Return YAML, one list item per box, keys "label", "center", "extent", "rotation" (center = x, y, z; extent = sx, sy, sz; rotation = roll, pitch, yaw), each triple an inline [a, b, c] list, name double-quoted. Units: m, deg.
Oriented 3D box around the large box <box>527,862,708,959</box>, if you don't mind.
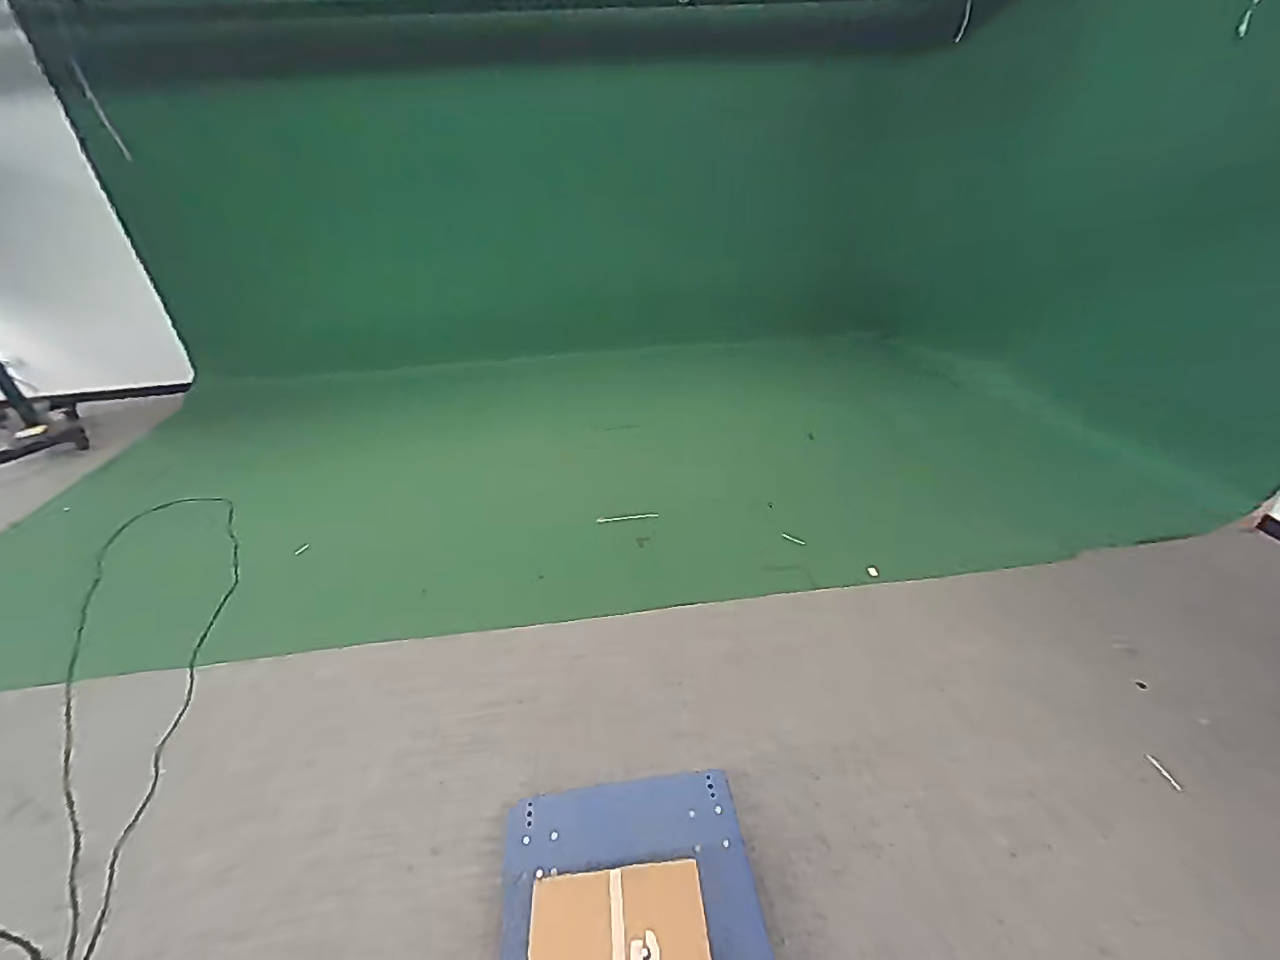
- label: "large box"
  center: [-0.024, 0.979, 0.943]
  extent: [0.320, 0.320, 0.408]
  rotation: [-5, 31, -2]
